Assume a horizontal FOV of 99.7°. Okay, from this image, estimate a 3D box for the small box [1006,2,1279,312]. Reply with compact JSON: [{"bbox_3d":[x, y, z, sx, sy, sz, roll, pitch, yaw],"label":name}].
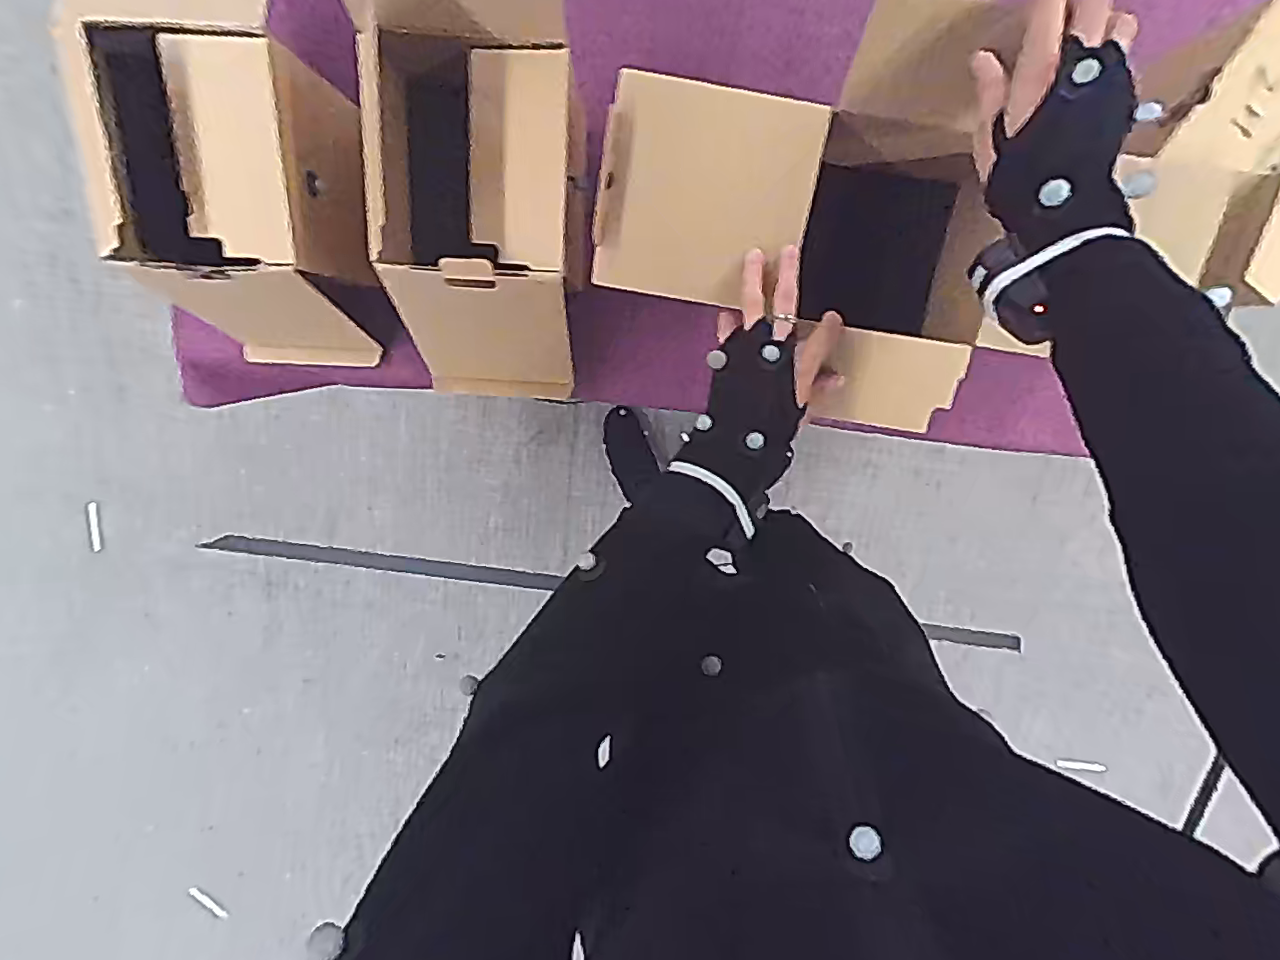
[{"bbox_3d":[0.514,-0.278,0.517,0.179,0.176,0.168,32,102,-7],"label":"small box"}]
